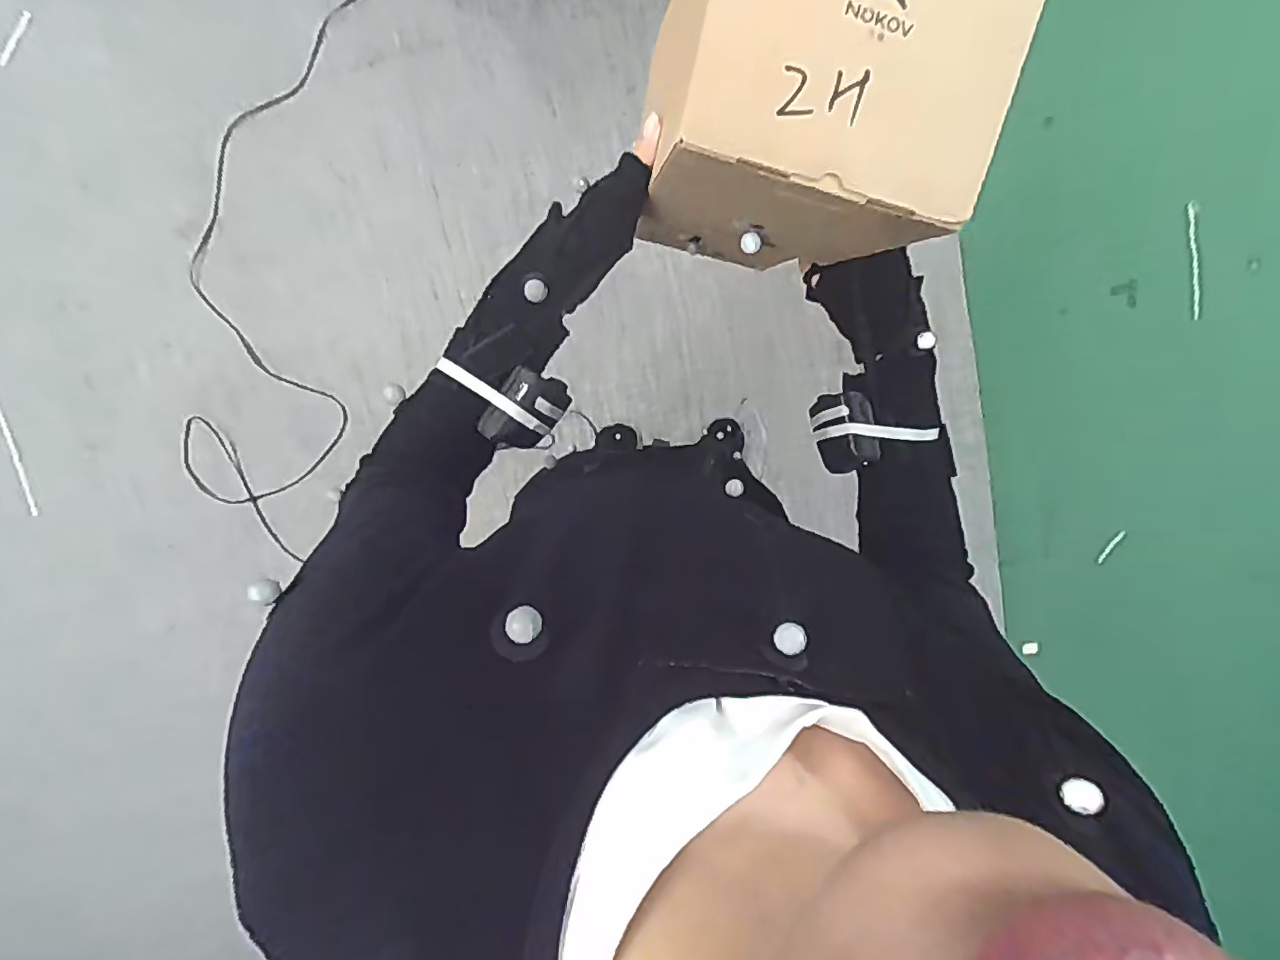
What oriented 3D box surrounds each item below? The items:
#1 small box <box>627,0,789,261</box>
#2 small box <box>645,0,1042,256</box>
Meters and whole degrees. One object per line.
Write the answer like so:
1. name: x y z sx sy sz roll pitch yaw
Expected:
1. small box: 0.089 -0.315 0.491 0.168 0.176 0.179 9 105 -11
2. small box: 0.106 -0.257 0.337 0.168 0.176 0.179 10 104 -11
